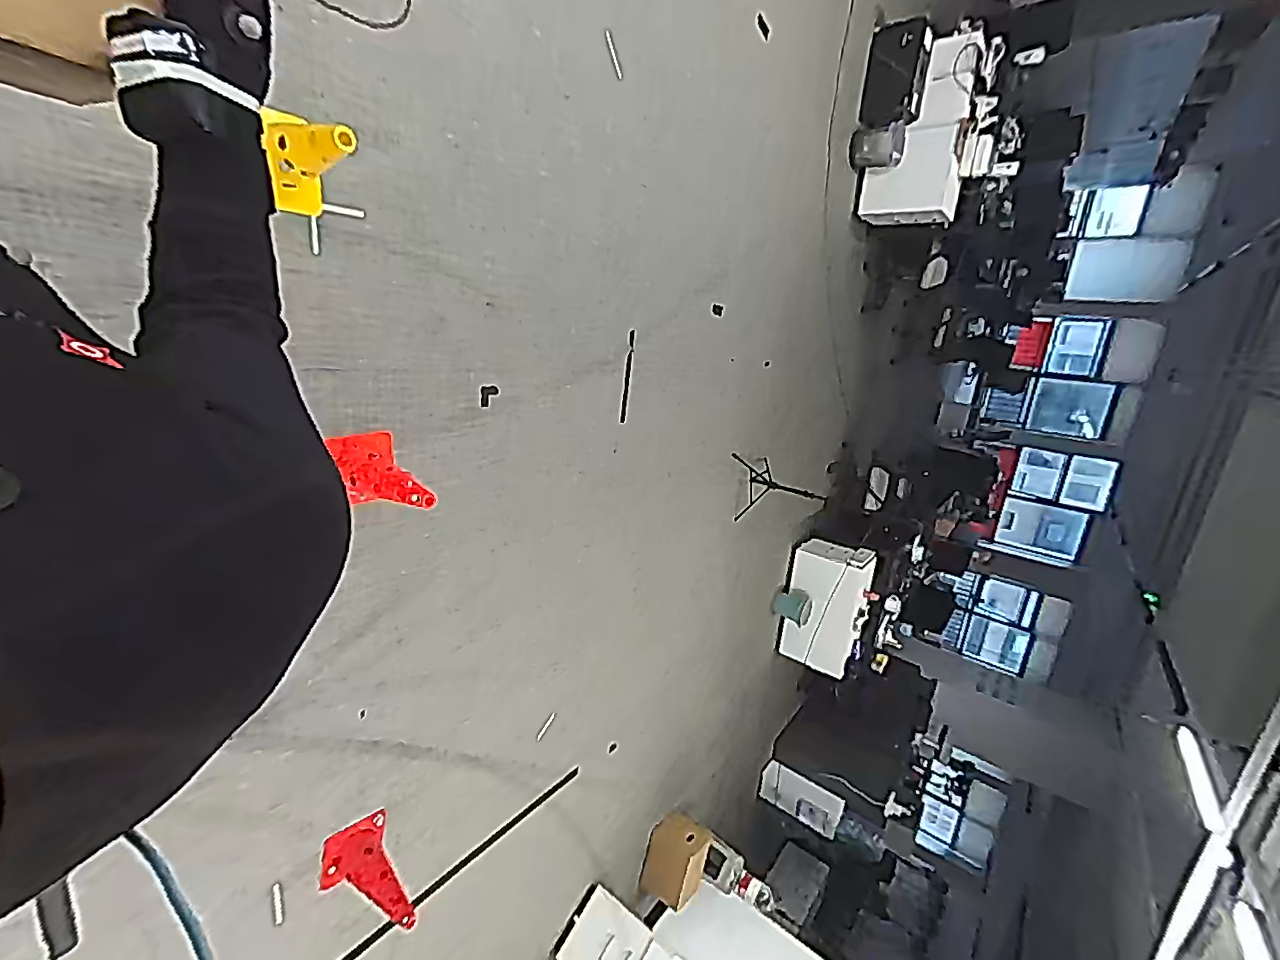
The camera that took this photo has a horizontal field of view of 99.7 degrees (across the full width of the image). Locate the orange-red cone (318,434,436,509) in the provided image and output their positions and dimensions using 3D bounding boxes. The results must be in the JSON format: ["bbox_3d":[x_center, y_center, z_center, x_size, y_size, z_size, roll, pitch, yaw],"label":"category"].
[{"bbox_3d":[-0.653,0.010,1.413,0.198,0.360,0.199,-18,116,-51],"label":"orange-red cone"}]

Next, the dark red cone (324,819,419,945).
[{"bbox_3d":[-0.802,1.275,1.676,0.201,0.394,0.202,-4,106,-52],"label":"dark red cone"}]

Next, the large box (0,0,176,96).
[{"bbox_3d":[-0.541,-0.450,0.267,0.408,0.320,0.320,-12,120,-53],"label":"large box"}]
